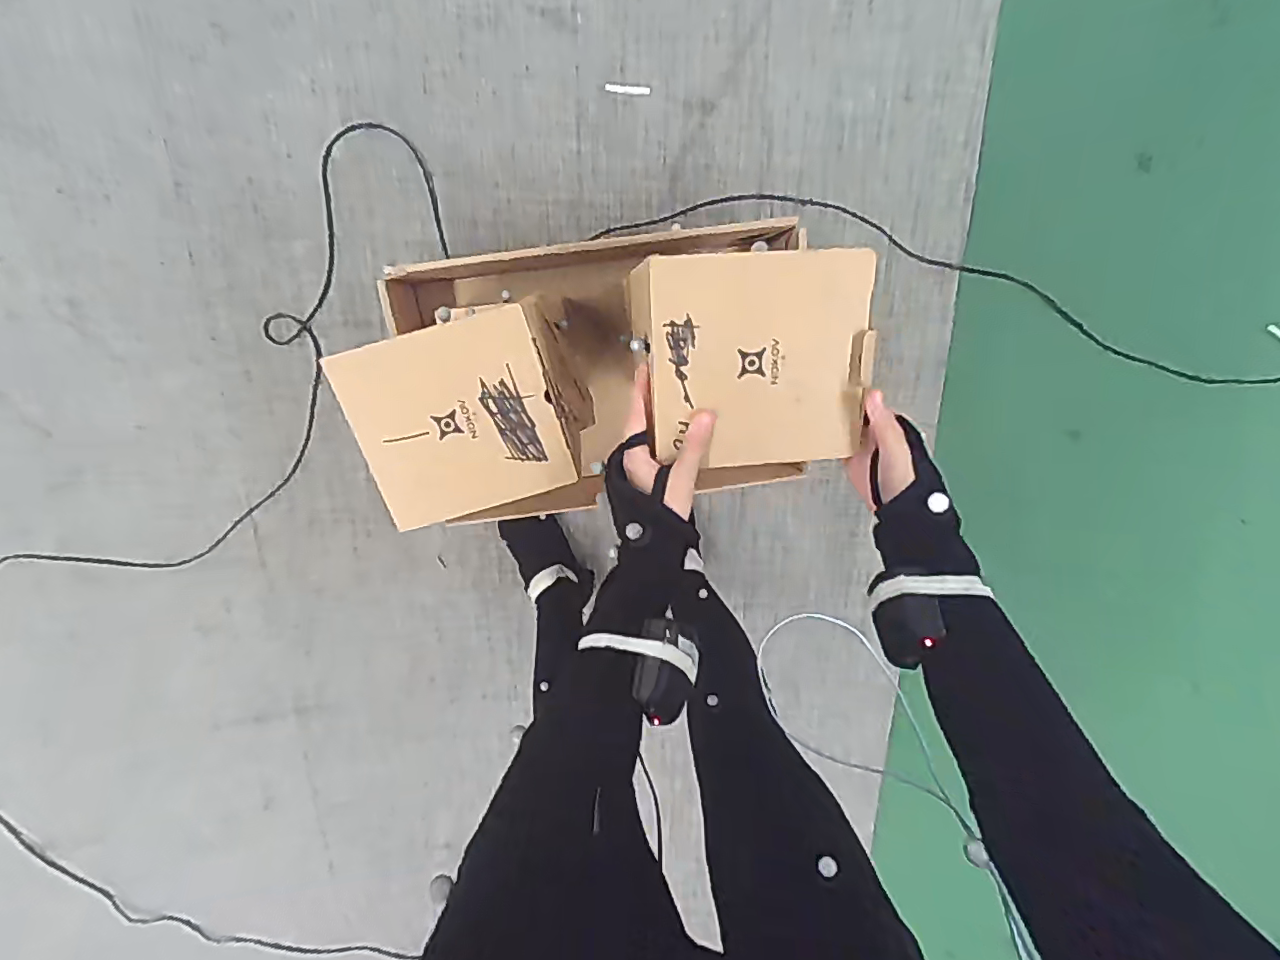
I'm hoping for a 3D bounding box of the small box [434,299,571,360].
[{"bbox_3d":[-0.200,-0.190,0.851,0.179,0.176,0.168,-8,109,-4],"label":"small box"}]

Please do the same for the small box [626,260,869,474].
[{"bbox_3d":[0.083,-0.111,0.504,0.179,0.176,0.168,-4,107,-4],"label":"small box"}]

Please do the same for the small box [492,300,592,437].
[{"bbox_3d":[-0.174,-0.125,0.703,0.179,0.176,0.168,-23,109,2],"label":"small box"}]

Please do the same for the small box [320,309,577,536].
[{"bbox_3d":[-0.170,-0.070,0.548,0.179,0.176,0.168,-16,109,0],"label":"small box"}]
